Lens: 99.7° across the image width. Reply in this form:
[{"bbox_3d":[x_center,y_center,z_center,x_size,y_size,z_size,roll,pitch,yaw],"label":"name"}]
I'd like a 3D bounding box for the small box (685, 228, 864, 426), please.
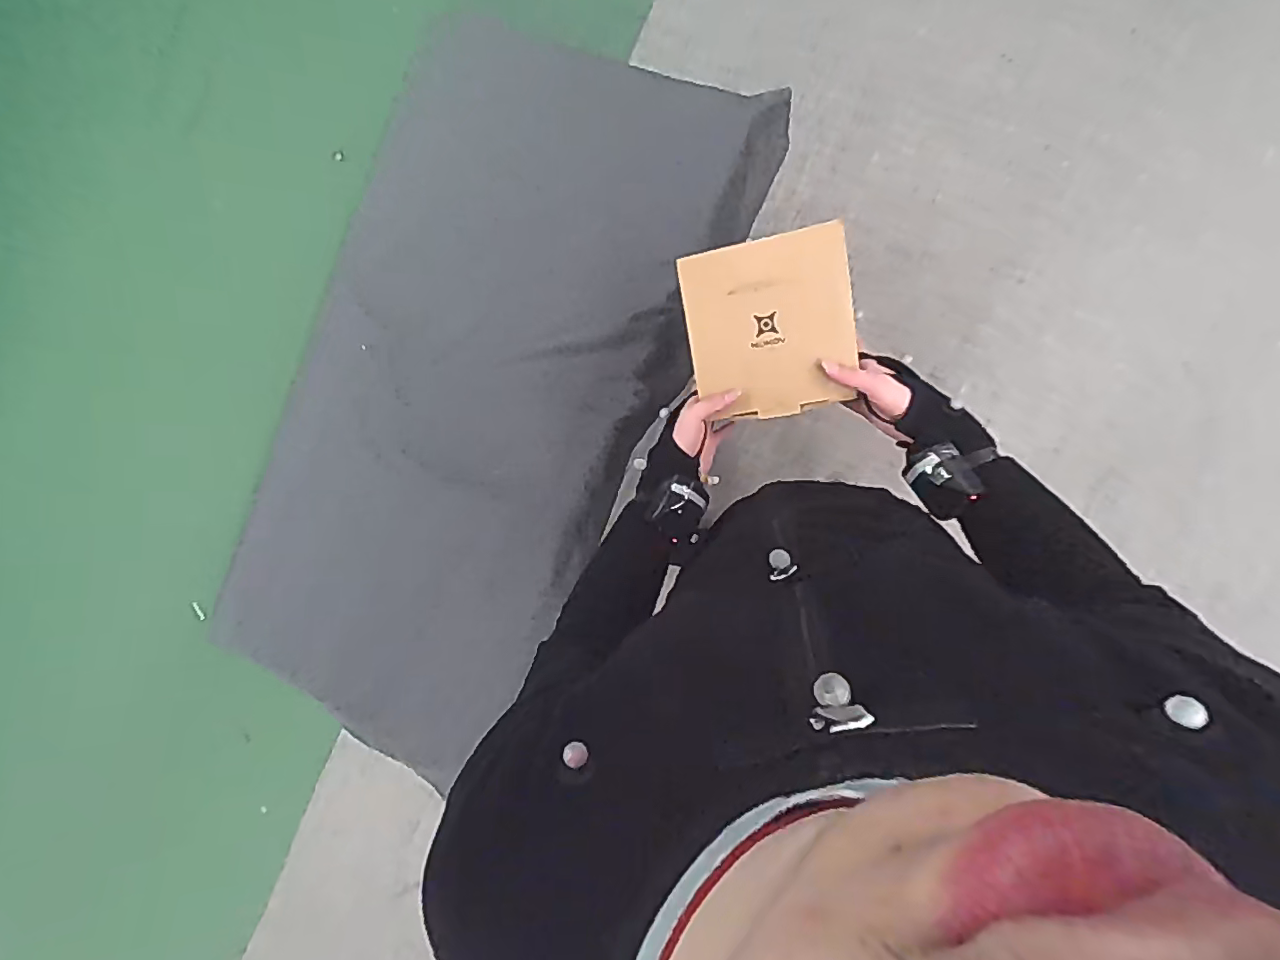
[{"bbox_3d":[0.159,-0.173,0.638,0.168,0.176,0.179,-9,102,16],"label":"small box"}]
